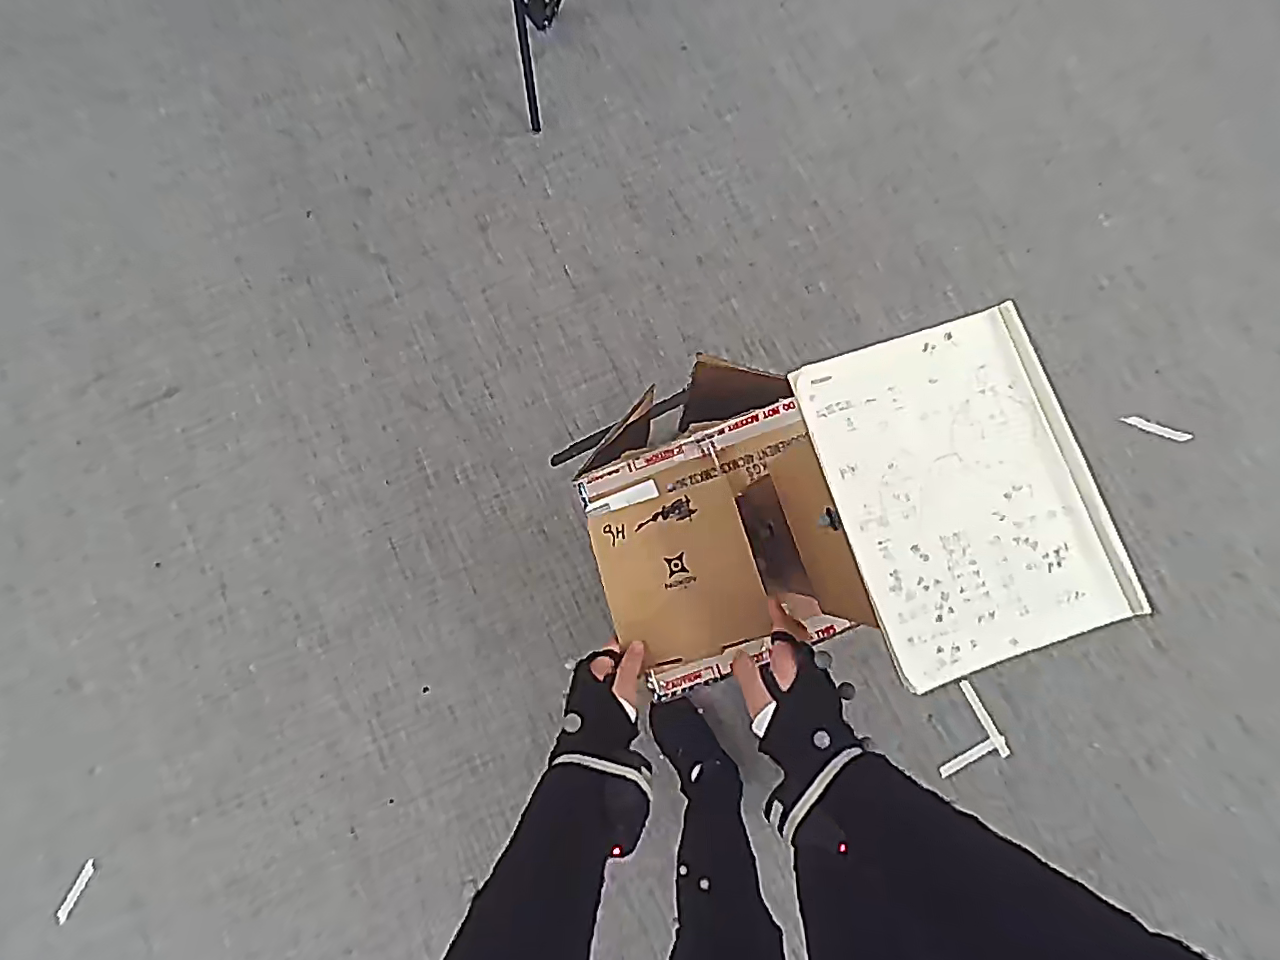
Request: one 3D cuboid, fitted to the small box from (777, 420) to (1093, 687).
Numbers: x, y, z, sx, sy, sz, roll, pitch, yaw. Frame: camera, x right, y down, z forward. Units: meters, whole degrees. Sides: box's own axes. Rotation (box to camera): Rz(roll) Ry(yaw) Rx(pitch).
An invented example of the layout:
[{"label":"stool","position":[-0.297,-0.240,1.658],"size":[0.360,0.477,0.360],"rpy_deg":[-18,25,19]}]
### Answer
[{"label":"small box","position":[0.248,0.066,0.505],"size":[0.168,0.176,0.179],"rpy_deg":[-18,83,-4]}]
